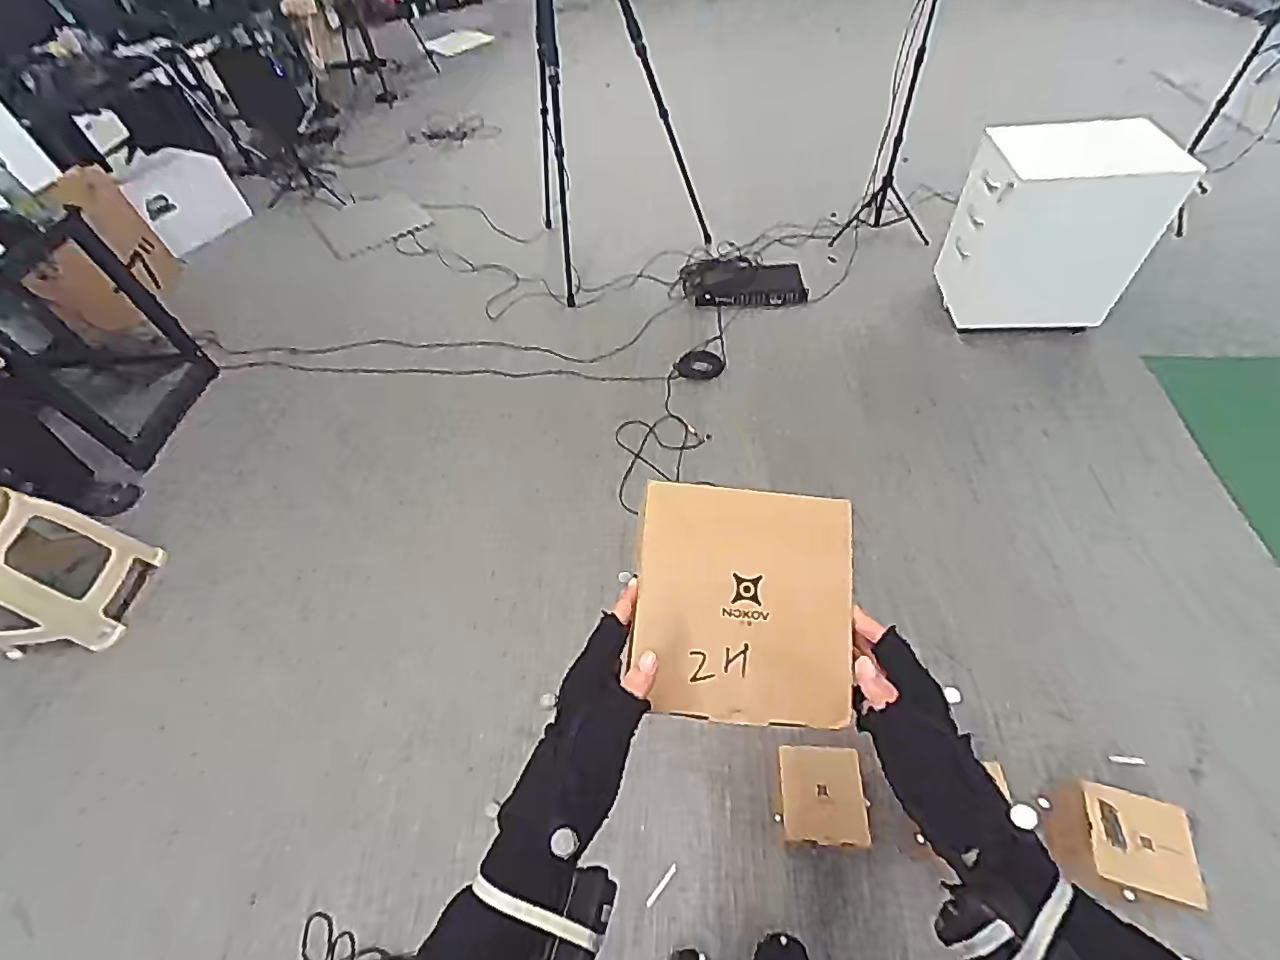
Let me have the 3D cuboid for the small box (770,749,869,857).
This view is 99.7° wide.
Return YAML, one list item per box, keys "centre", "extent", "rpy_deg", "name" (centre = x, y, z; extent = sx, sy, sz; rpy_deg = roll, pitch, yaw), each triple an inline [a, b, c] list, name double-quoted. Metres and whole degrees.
- centre: [0.377, 0.700, 1.171]
  extent: [0.168, 0.176, 0.179]
  rpy_deg: [0, 52, 6]
  name: "small box"

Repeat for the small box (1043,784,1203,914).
- centre: [0.939, 0.736, 1.078]
  extent: [0.179, 0.176, 0.168]
  rpy_deg: [12, 55, 14]
  name: "small box"
